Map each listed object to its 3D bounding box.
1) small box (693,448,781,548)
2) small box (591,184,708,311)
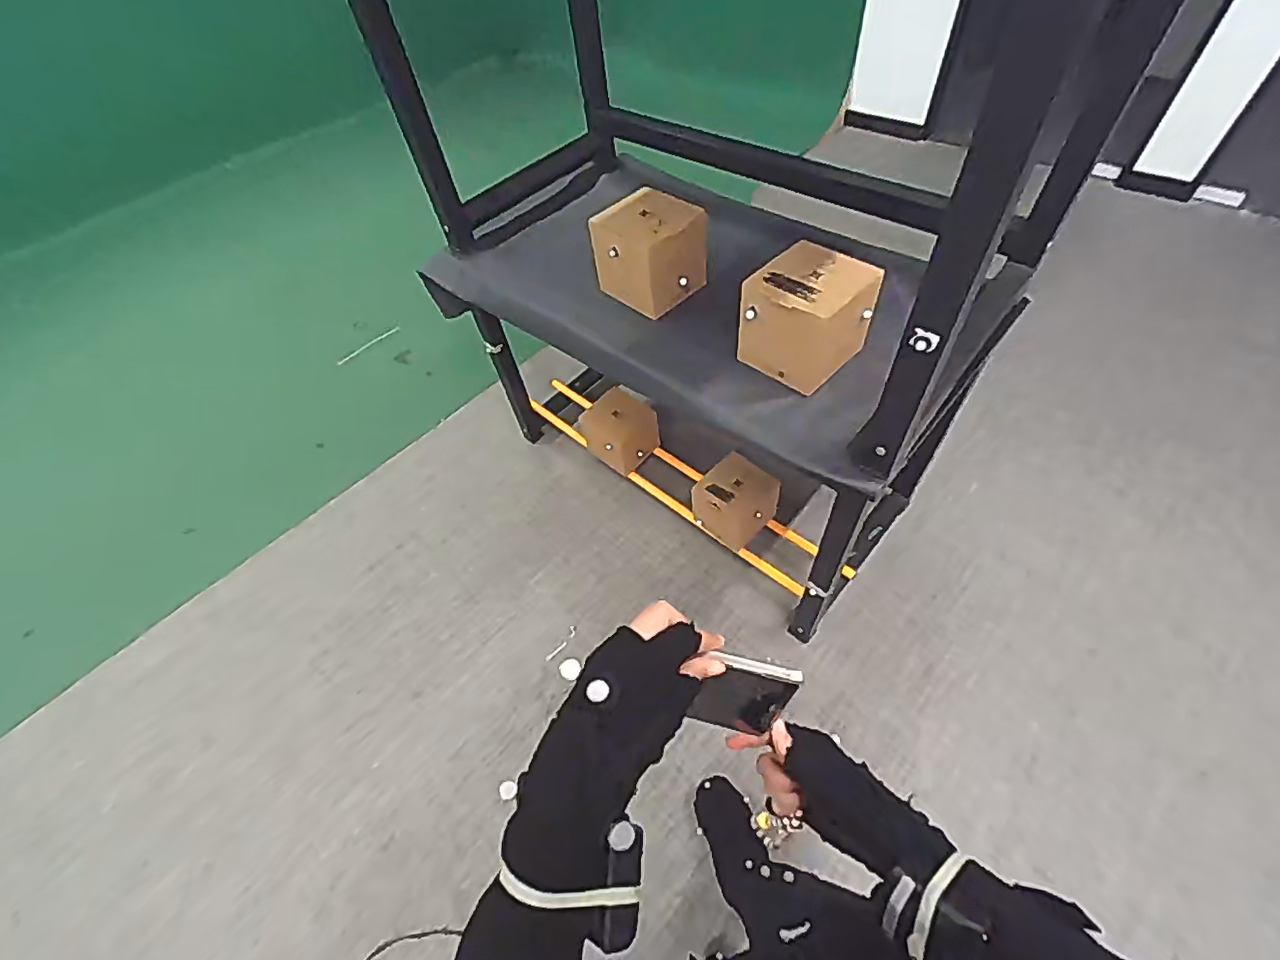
[{"bbox_3d":[0.266,0.054,1.487,0.179,0.176,0.168,-40,60,-20],"label":"small box"},{"bbox_3d":[0.024,-0.484,1.134,0.168,0.176,0.179,-40,59,-20],"label":"small box"}]
